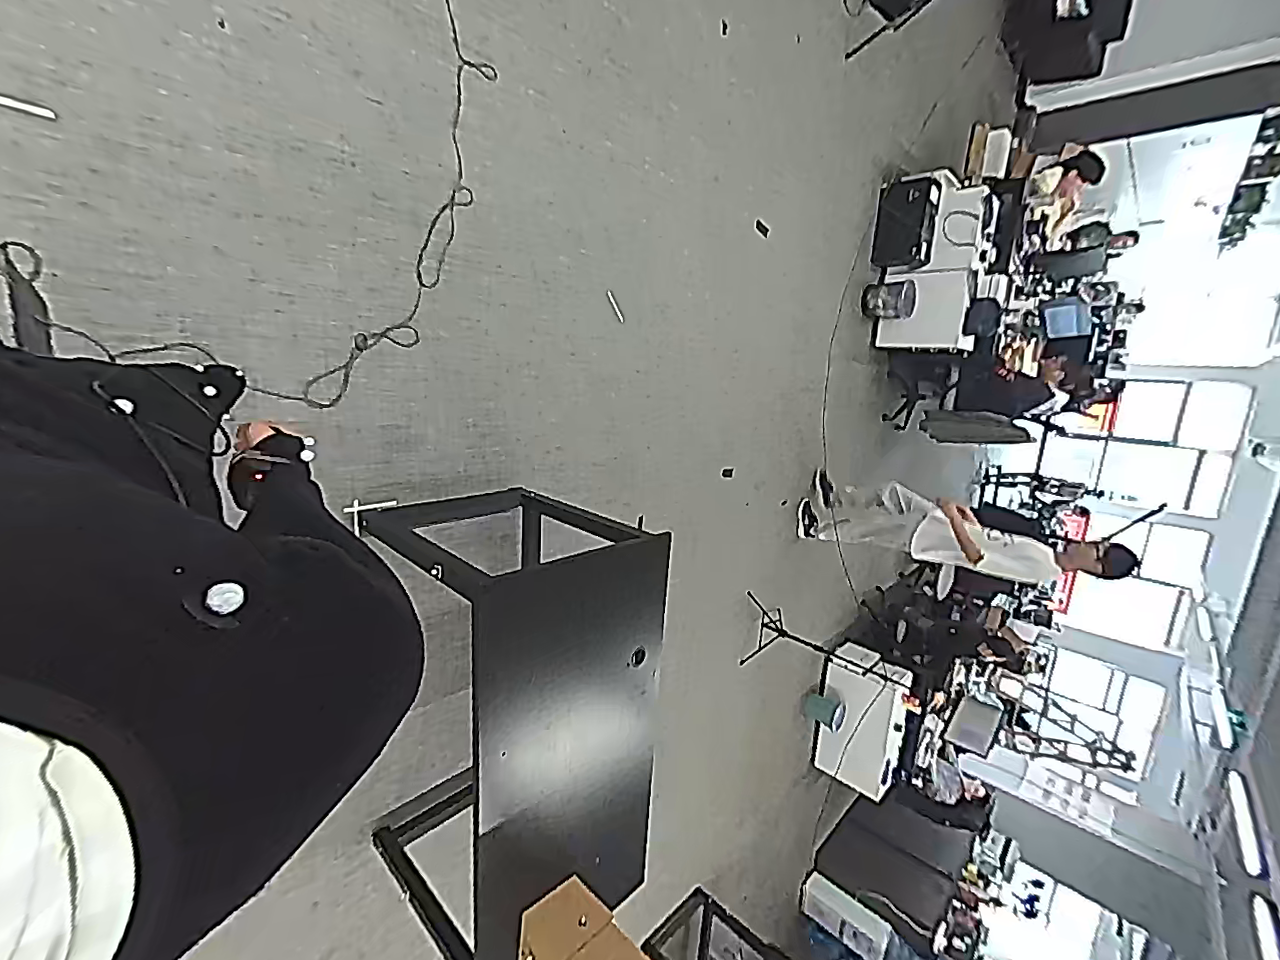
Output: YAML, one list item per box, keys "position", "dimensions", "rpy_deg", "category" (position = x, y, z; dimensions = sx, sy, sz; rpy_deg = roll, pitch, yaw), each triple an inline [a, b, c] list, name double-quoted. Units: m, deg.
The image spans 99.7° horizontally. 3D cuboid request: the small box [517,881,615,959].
- position: [-0.190, 1.192, 1.390]
  dimensions: [0.179, 0.176, 0.168]
  rpy_deg: [-2, 101, -47]
  category: "small box"
